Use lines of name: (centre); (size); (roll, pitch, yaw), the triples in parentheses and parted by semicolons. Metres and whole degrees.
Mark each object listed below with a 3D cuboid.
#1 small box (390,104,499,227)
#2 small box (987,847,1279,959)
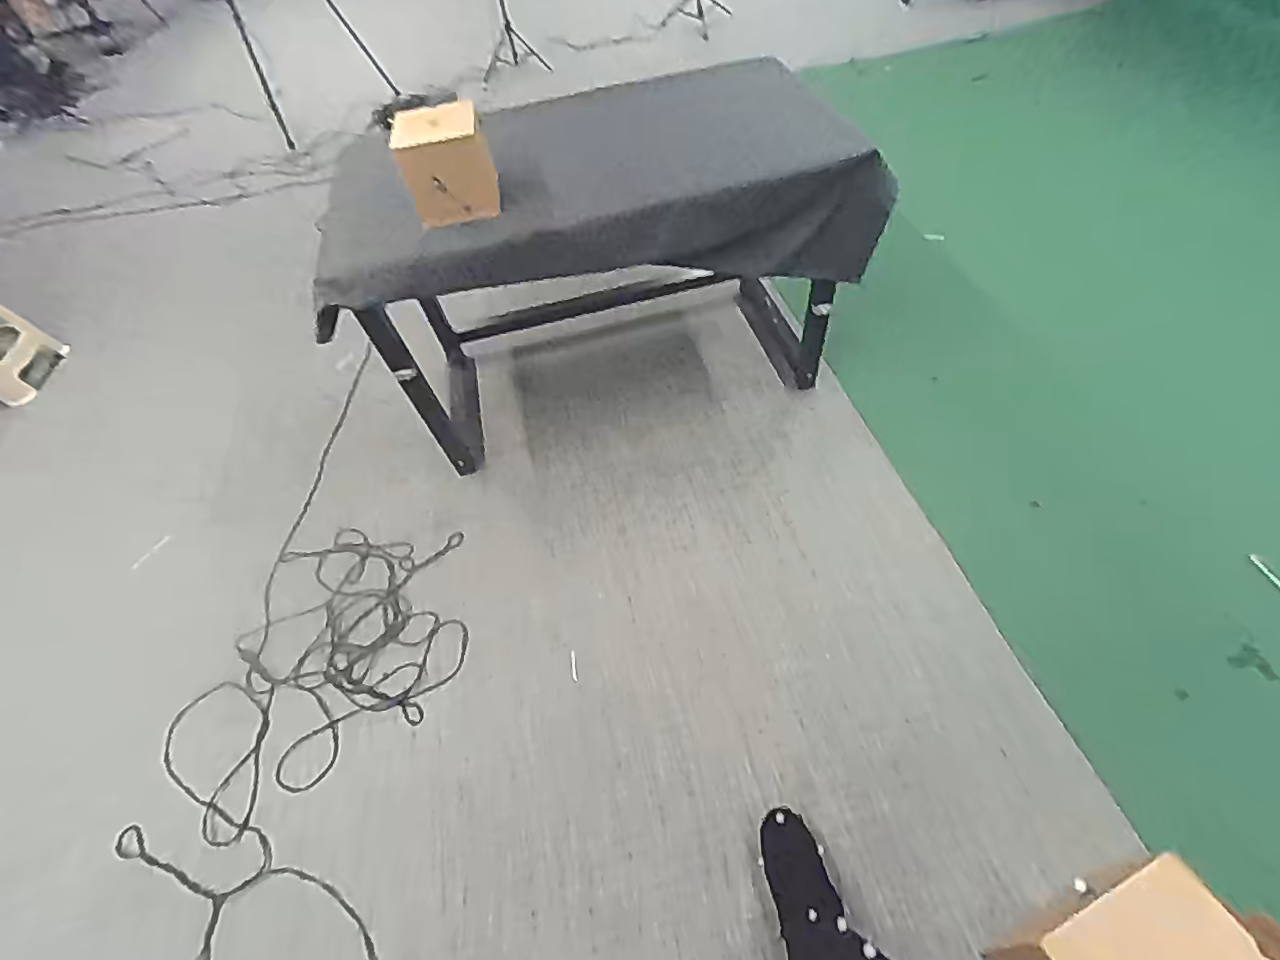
small box: (-0.405, -0.657, 1.146); (0.168, 0.176, 0.179); (-12, 53, -2)
small box: (0.475, 0.490, 0.509); (0.179, 0.176, 0.168); (-22, 46, -14)
